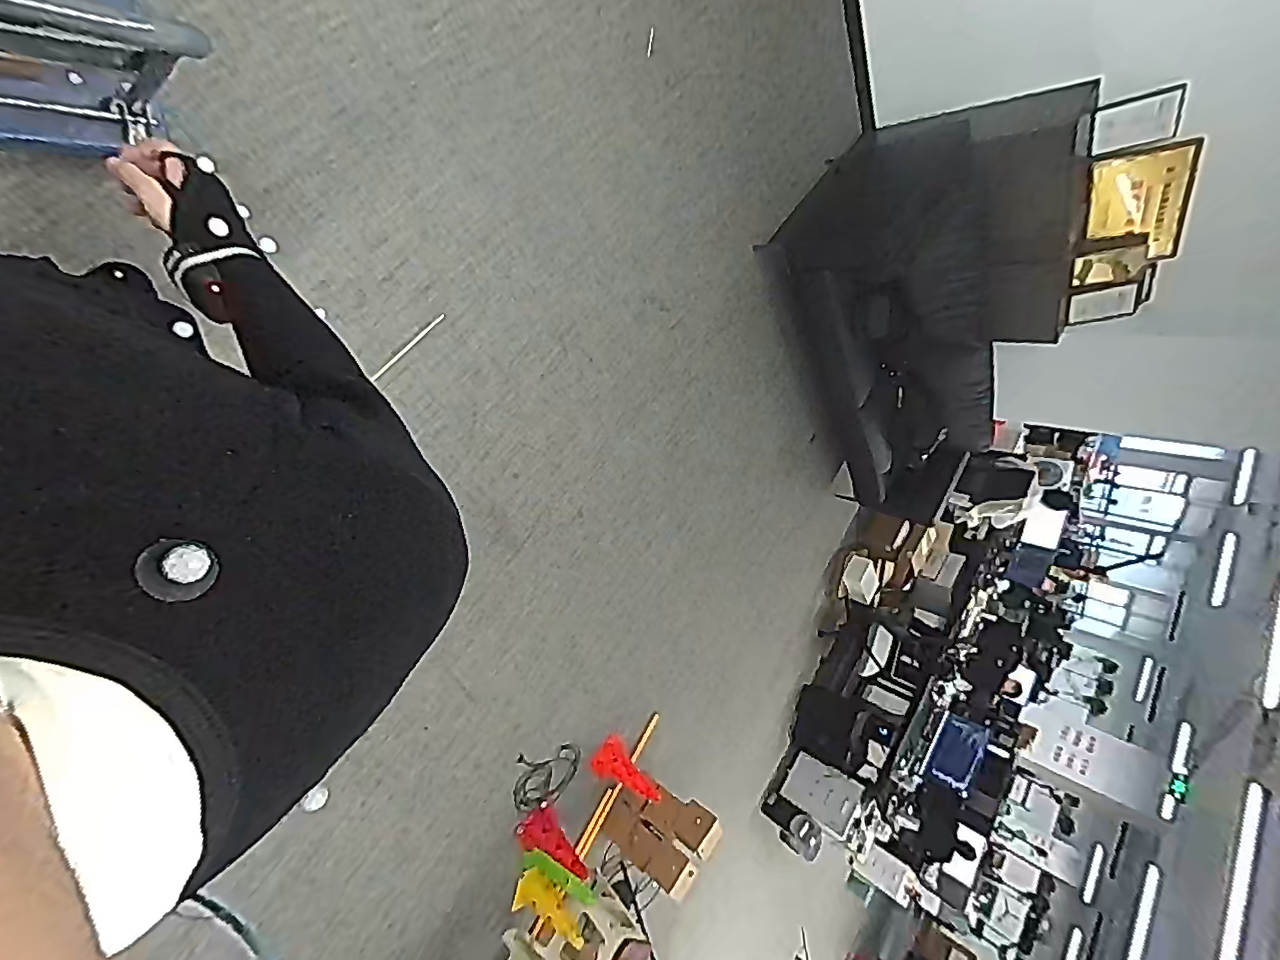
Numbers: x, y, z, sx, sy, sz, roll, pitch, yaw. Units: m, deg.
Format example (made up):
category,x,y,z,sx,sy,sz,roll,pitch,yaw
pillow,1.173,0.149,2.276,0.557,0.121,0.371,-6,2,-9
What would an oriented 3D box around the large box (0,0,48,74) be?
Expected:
category,x,y,z,sx,sy,sz,roll,pitch,yaw
large box,-1.030,-0.810,0.666,0.320,0.320,0.408,-19,115,-42
